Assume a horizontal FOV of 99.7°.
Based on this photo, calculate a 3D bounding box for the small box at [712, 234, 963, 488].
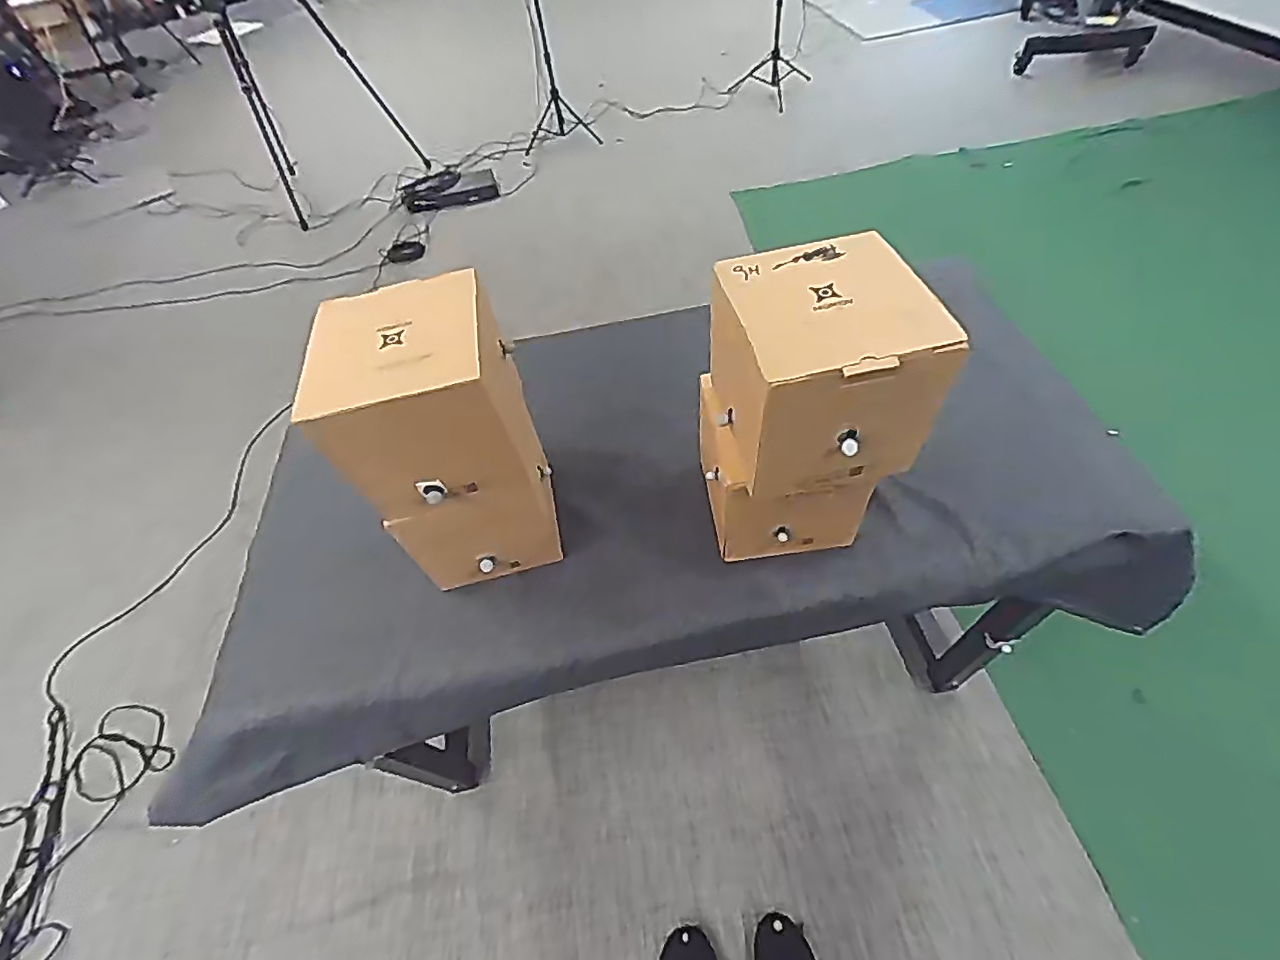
[{"bbox_3d":[0.173,-0.108,0.538,0.168,0.176,0.179,-12,53,-1],"label":"small box"}]

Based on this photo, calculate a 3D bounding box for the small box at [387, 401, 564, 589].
[{"bbox_3d":[-0.204,0.014,0.701,0.168,0.176,0.179,-14,53,-3],"label":"small box"}]

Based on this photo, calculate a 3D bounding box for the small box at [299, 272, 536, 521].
[{"bbox_3d":[-0.217,-0.084,0.572,0.168,0.176,0.179,-14,54,-2],"label":"small box"}]

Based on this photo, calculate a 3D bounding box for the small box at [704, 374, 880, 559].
[{"bbox_3d":[0.174,-0.023,0.680,0.168,0.176,0.179,-8,53,1],"label":"small box"}]
